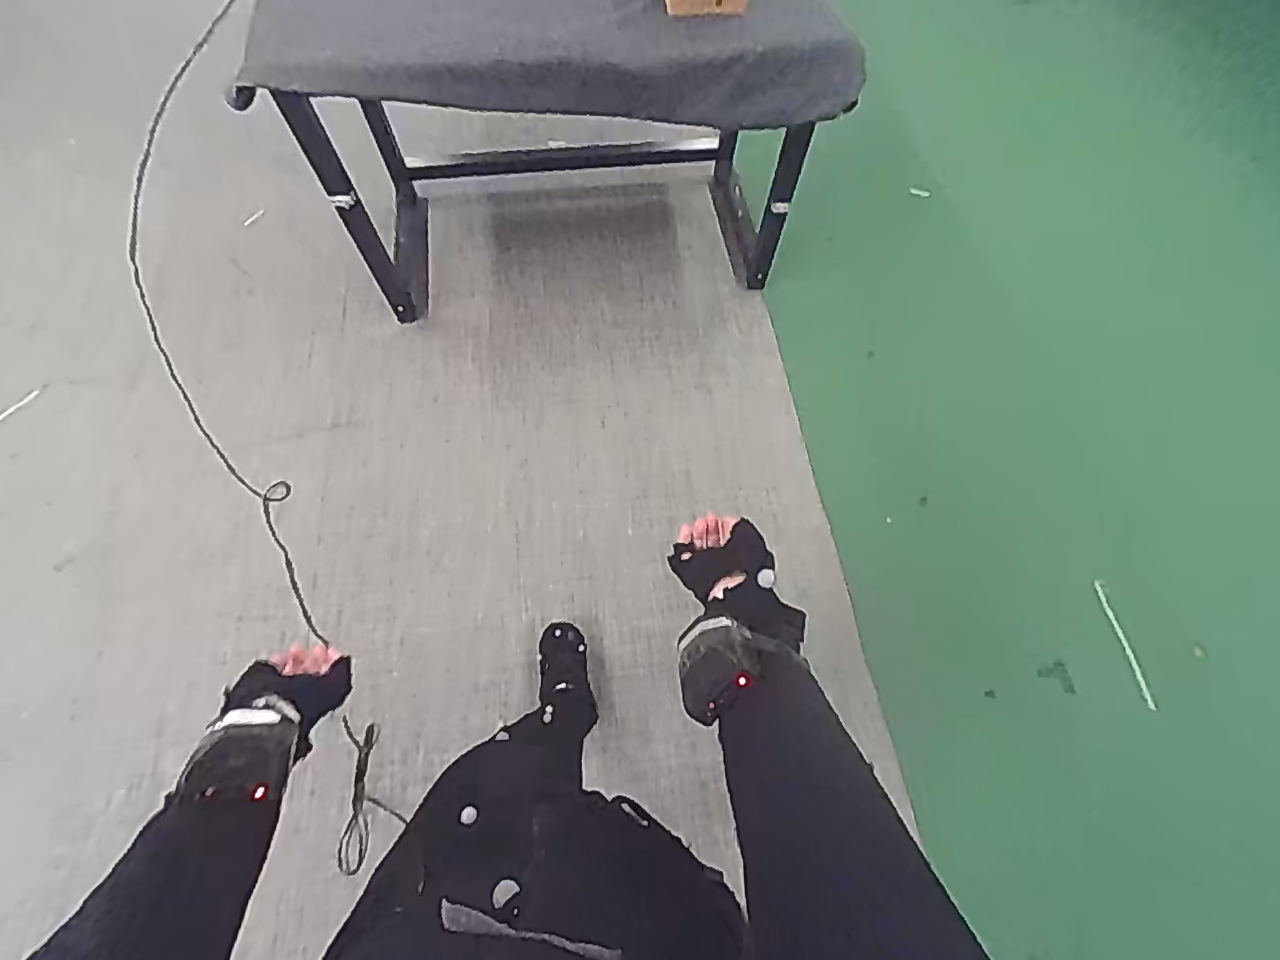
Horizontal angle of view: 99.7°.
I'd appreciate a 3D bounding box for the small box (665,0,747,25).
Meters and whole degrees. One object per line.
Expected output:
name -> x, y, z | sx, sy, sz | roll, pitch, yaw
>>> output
small box -> 0.135, -1.080, 1.113 | 0.168, 0.176, 0.179 | -5, 65, -3
